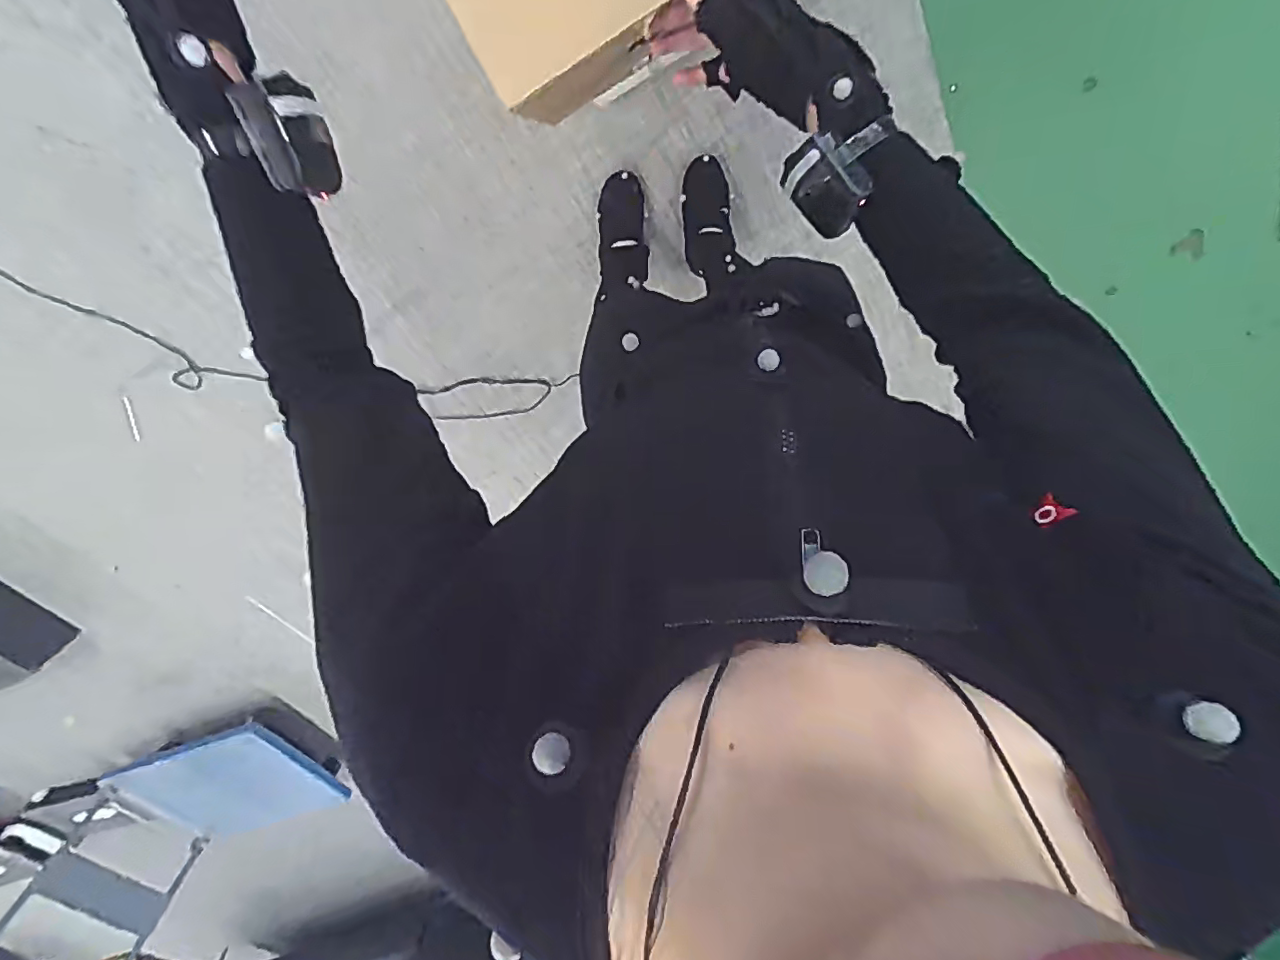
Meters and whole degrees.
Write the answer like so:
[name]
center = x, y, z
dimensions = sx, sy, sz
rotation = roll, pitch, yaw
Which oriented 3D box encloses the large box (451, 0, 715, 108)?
[large box]
center = -0.068, -0.596, 0.427
dimensions = 0.320, 0.320, 0.408
rotation = -25, 118, 14
